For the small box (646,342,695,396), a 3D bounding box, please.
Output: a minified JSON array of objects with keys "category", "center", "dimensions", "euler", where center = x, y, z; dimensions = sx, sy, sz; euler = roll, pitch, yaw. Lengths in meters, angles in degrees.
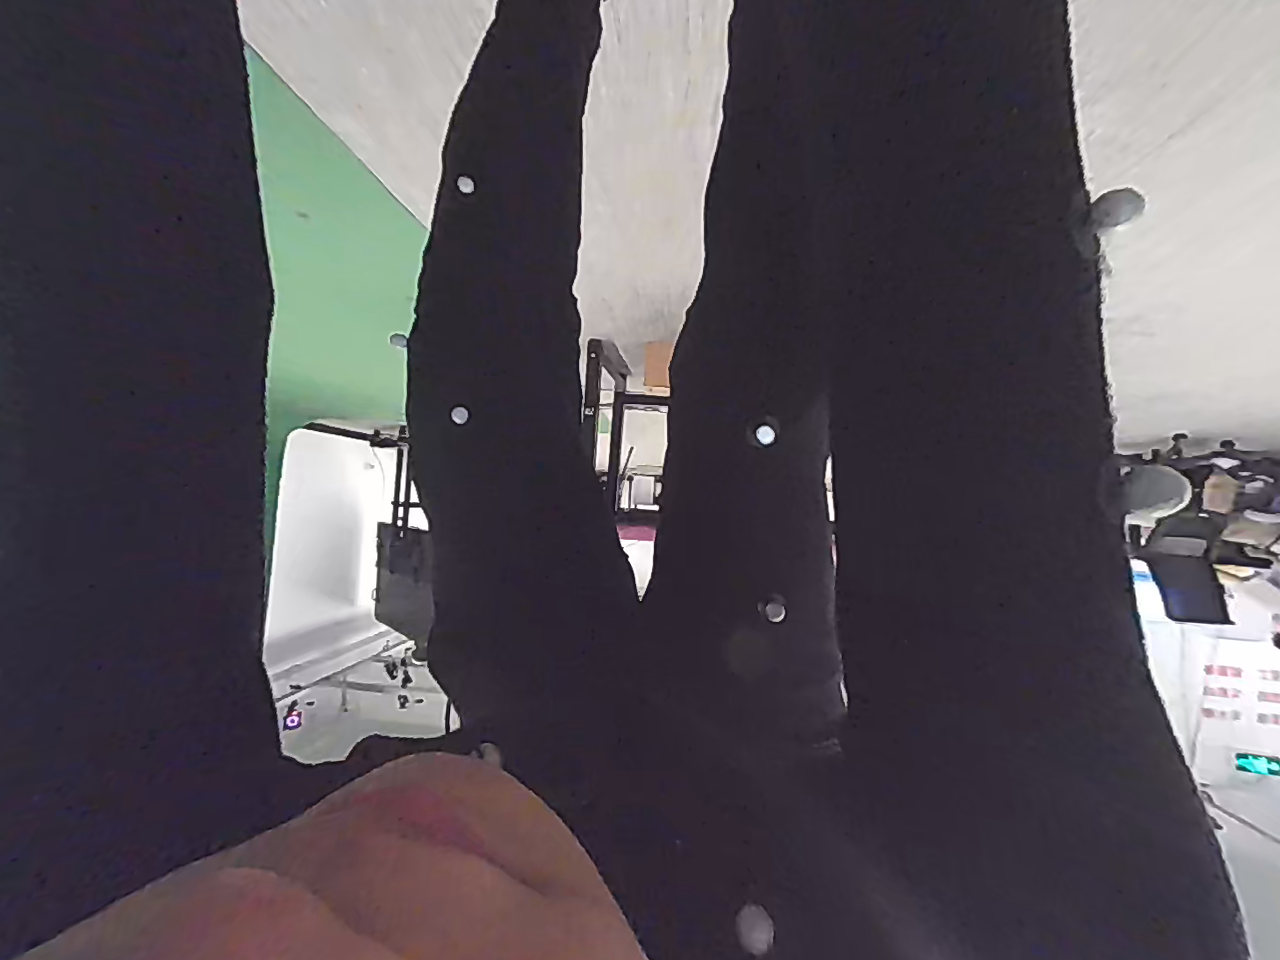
[{"category":"small box","center":[0.116,-0.423,2.058],"dimensions":[0.179,0.176,0.168],"euler":[3,177,4]}]
